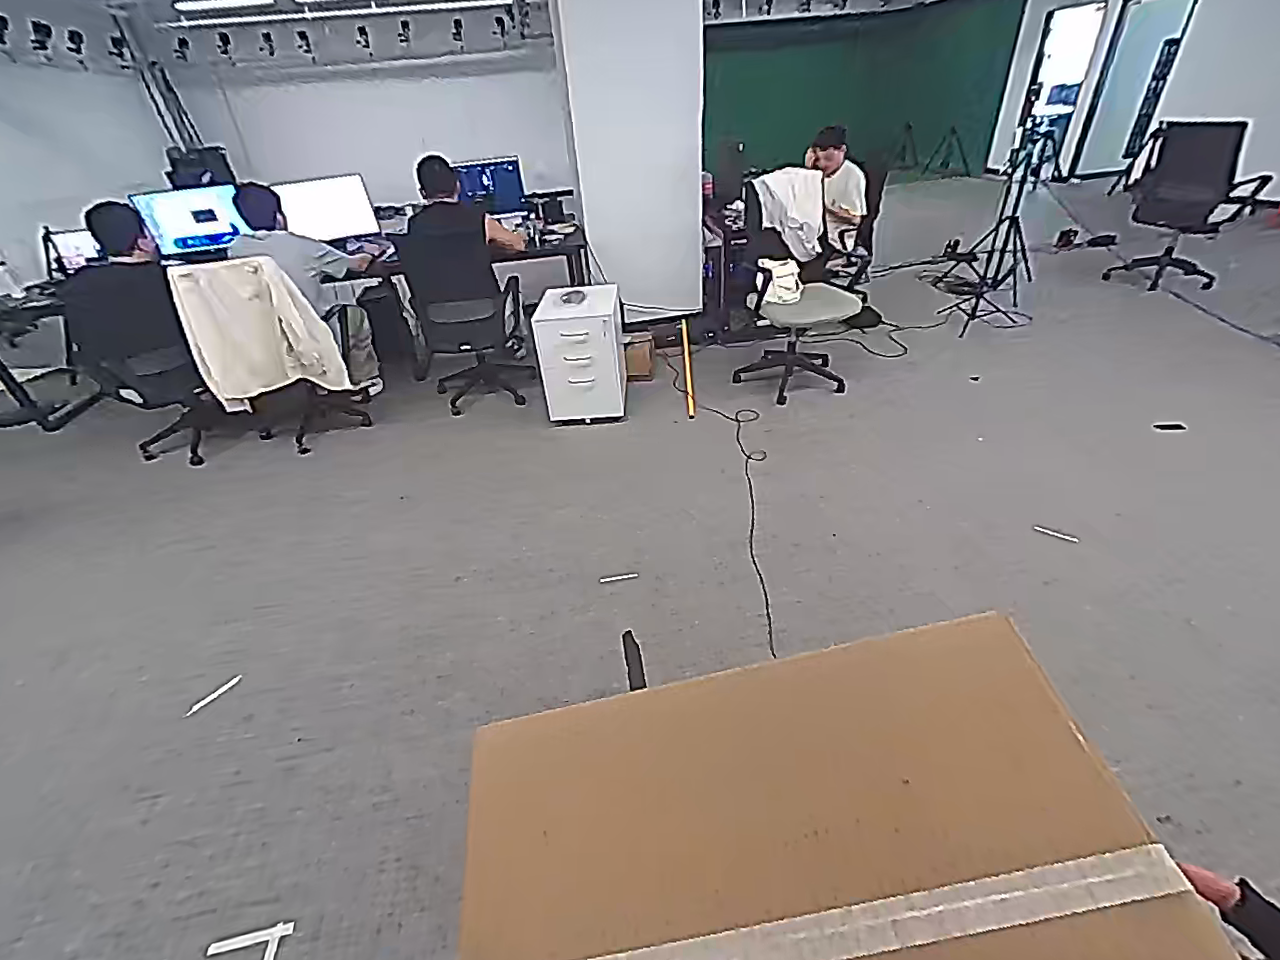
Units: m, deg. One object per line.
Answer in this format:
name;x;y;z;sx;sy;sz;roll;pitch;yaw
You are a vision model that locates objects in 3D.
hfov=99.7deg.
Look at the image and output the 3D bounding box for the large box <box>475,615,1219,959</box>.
large box;0.125;0.353;0.418;0.408;0.320;0.320;-14;47;4
